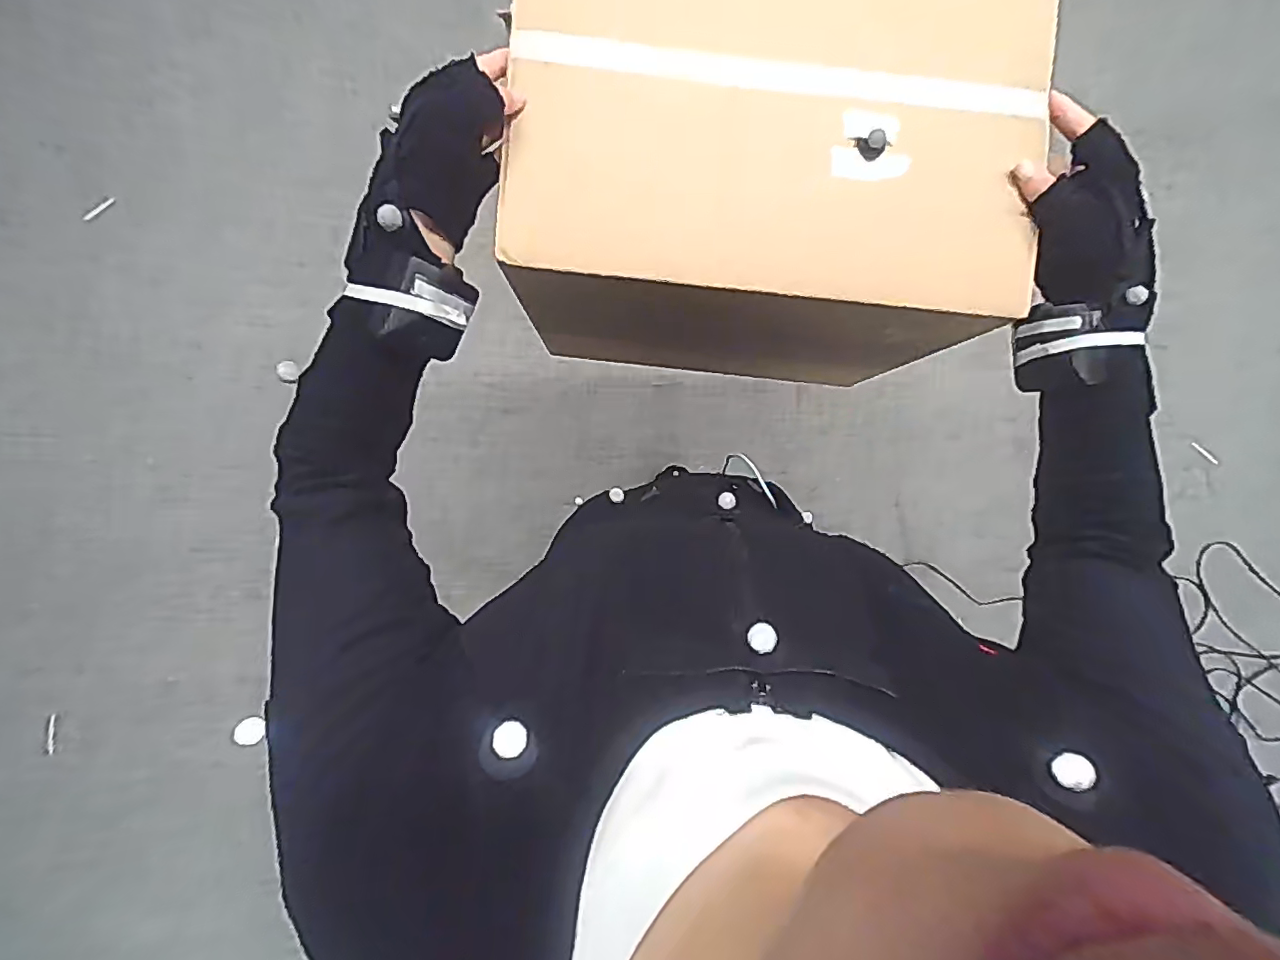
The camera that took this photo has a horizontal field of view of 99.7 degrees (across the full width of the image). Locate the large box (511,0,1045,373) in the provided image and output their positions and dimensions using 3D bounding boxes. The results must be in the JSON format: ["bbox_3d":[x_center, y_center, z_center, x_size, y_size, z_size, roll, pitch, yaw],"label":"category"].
[{"bbox_3d":[0.102,-0.305,0.562,0.408,0.320,0.320,5,91,-2],"label":"large box"}]
